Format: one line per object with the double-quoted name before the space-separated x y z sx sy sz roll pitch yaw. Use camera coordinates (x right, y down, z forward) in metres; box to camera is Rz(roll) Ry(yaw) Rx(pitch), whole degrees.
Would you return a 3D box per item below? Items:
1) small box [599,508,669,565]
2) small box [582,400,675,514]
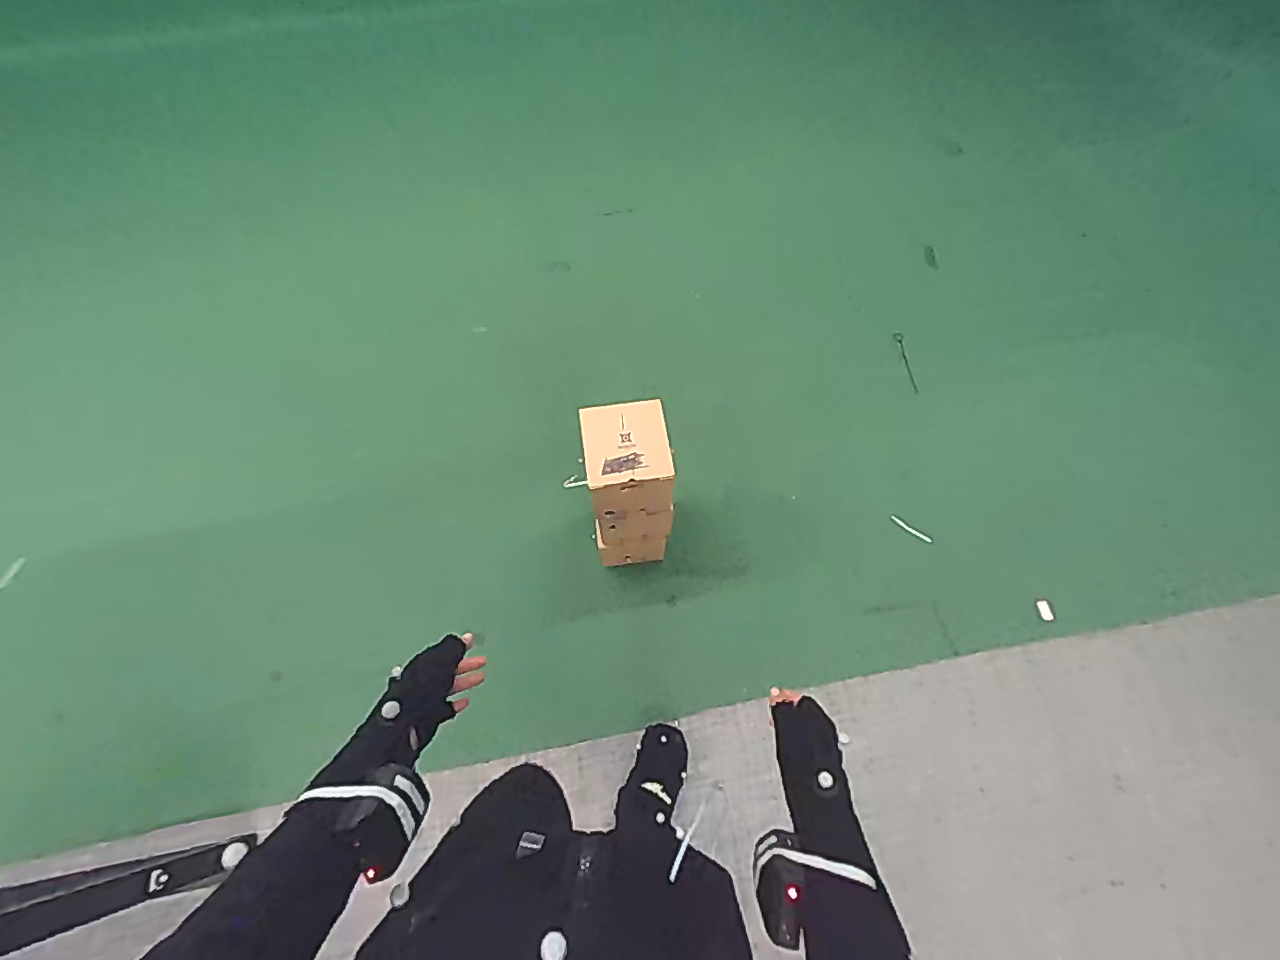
"small box" -0.022 0.109 1.407 0.168 0.176 0.179 -7 67 -3
"small box" -0.023 -0.038 1.112 0.168 0.176 0.179 -8 65 -4
